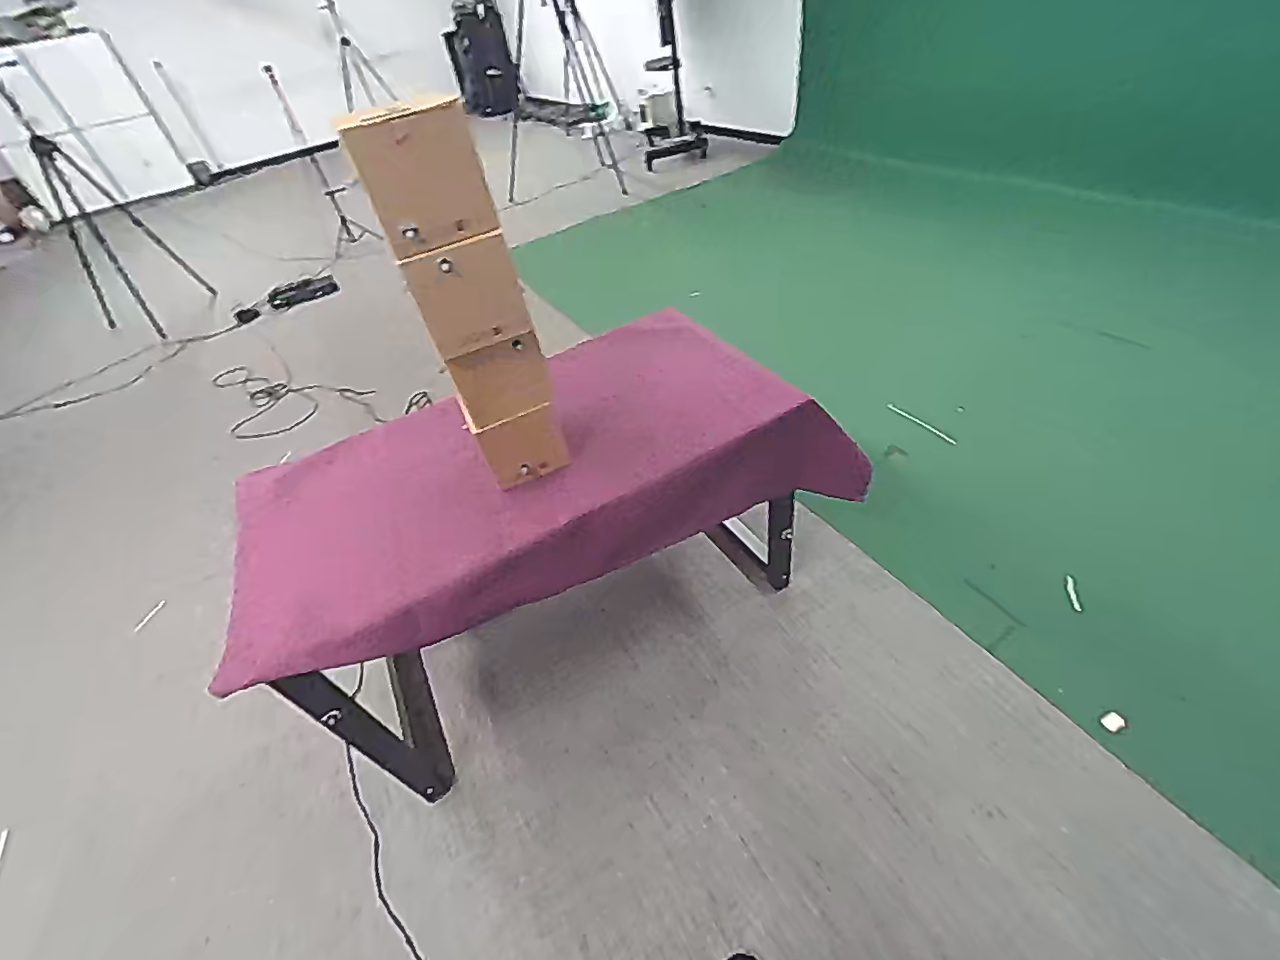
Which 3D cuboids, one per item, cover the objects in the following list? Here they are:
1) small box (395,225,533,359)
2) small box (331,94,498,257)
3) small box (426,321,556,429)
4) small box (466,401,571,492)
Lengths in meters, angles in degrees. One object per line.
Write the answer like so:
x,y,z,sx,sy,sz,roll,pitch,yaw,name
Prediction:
-0.298,-0.329,0.914,0.168,0.176,0.179,-23,43,-11,small box
-0.333,-0.454,0.811,0.168,0.176,0.179,-26,44,-14,small box
-0.284,-0.225,1.042,0.179,0.176,0.168,-25,45,-13,small box
-0.264,-0.106,1.149,0.168,0.176,0.179,-24,45,-12,small box
